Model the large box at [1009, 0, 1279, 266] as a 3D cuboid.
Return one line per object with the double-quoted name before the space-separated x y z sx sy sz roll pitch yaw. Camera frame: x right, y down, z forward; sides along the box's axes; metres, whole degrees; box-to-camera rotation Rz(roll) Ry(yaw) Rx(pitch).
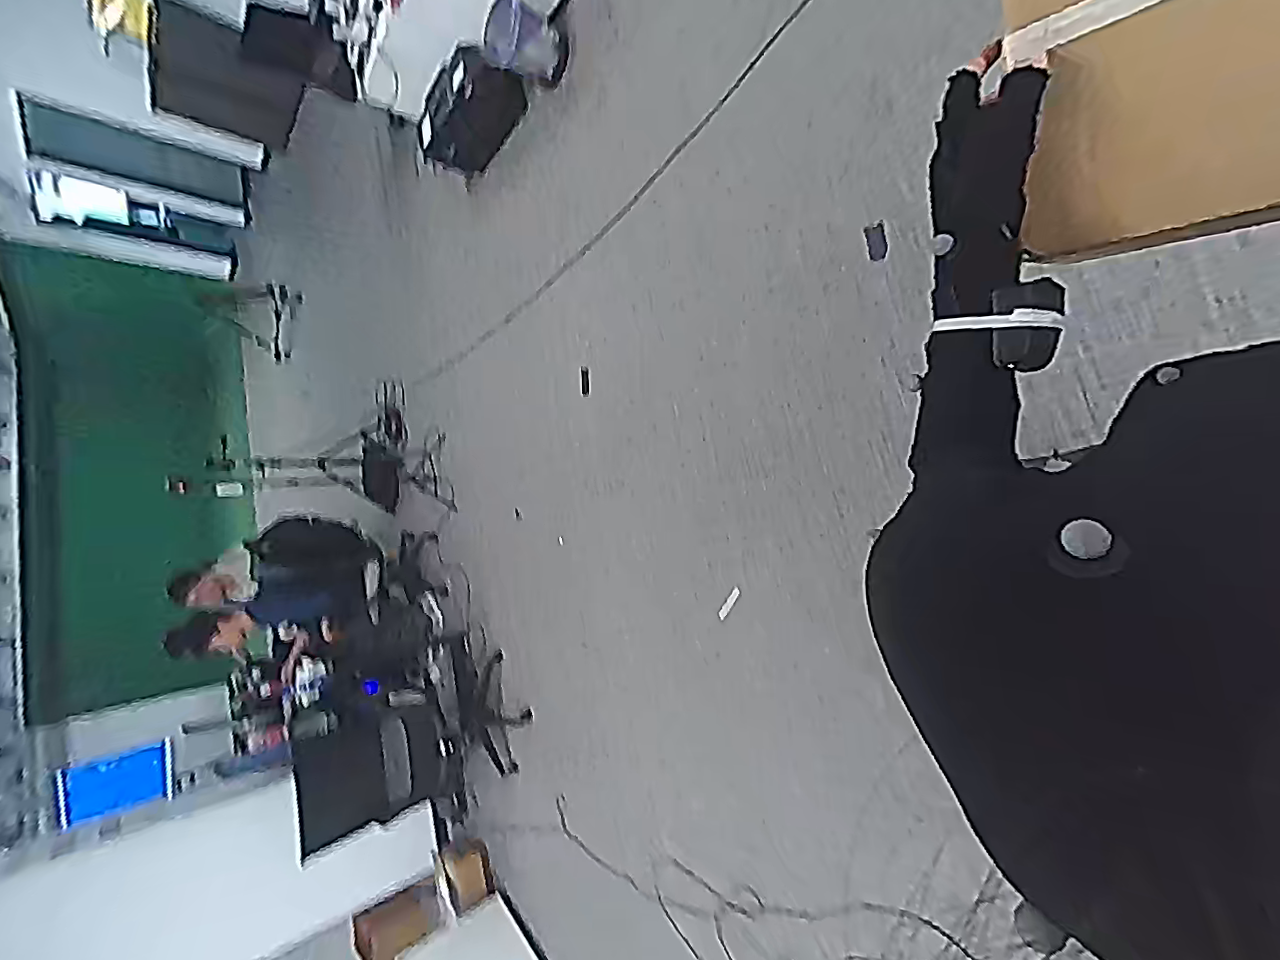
"large box" 0.535 -0.372 0.398 0.408 0.320 0.320 1 106 42
